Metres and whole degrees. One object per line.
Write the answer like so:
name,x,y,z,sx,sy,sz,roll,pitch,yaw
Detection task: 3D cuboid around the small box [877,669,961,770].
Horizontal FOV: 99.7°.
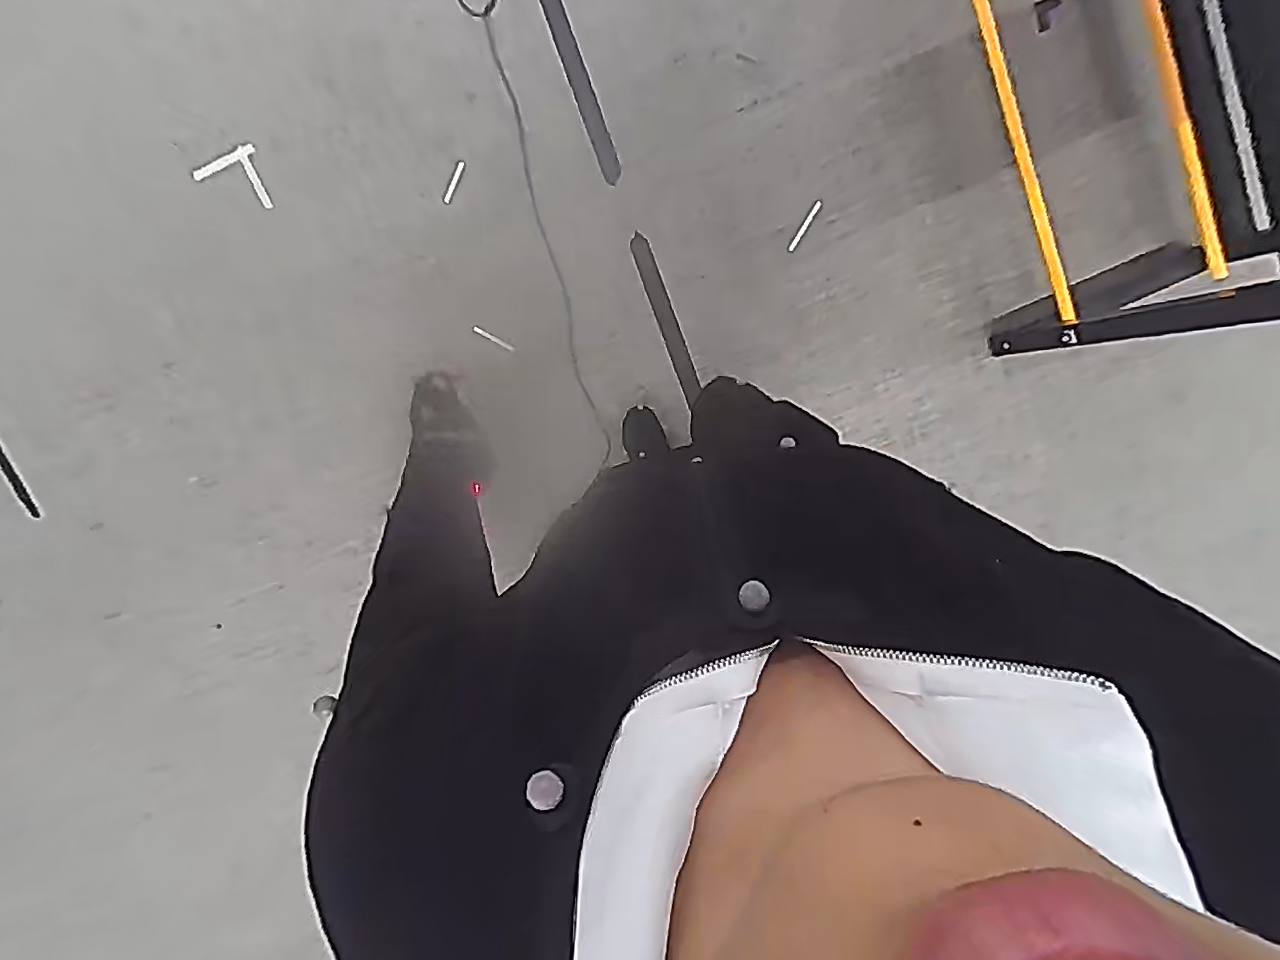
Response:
small box,0.796,0.667,1.523,0.179,0.176,0.168,-24,98,3

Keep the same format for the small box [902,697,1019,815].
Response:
small box,0.798,0.686,1.362,0.168,0.176,0.179,-23,97,2
